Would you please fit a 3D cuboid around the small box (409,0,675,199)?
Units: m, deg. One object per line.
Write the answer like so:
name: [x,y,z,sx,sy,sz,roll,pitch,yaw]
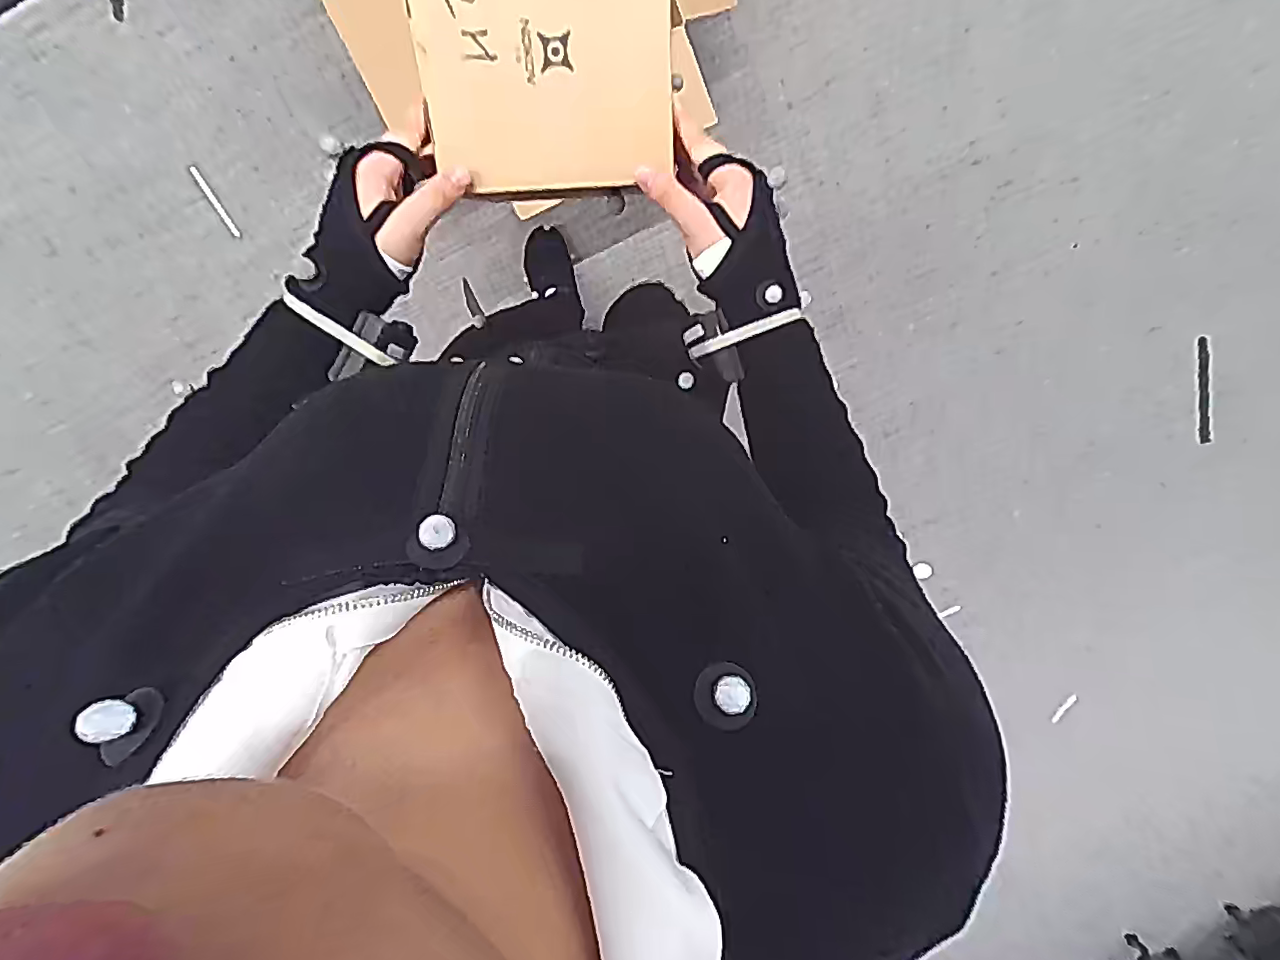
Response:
small box: [-0.066,-0.325,0.438,0.179,0.176,0.168,-2,115,0]
